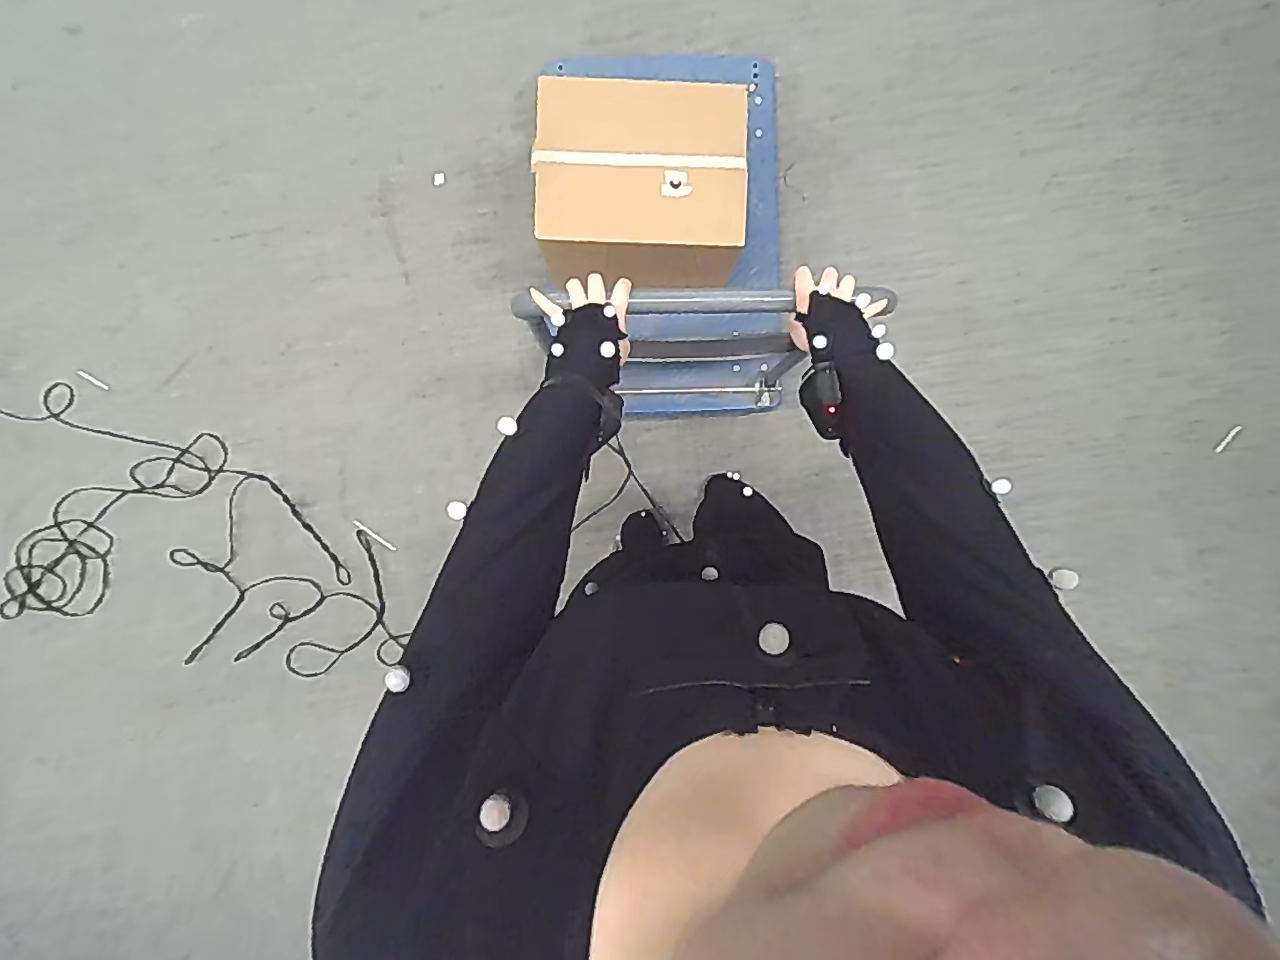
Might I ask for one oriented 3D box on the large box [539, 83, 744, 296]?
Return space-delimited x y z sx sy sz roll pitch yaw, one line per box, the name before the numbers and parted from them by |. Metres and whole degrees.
large box | -0.004 -0.612 1.198 0.408 0.320 0.320 1 90 -2
